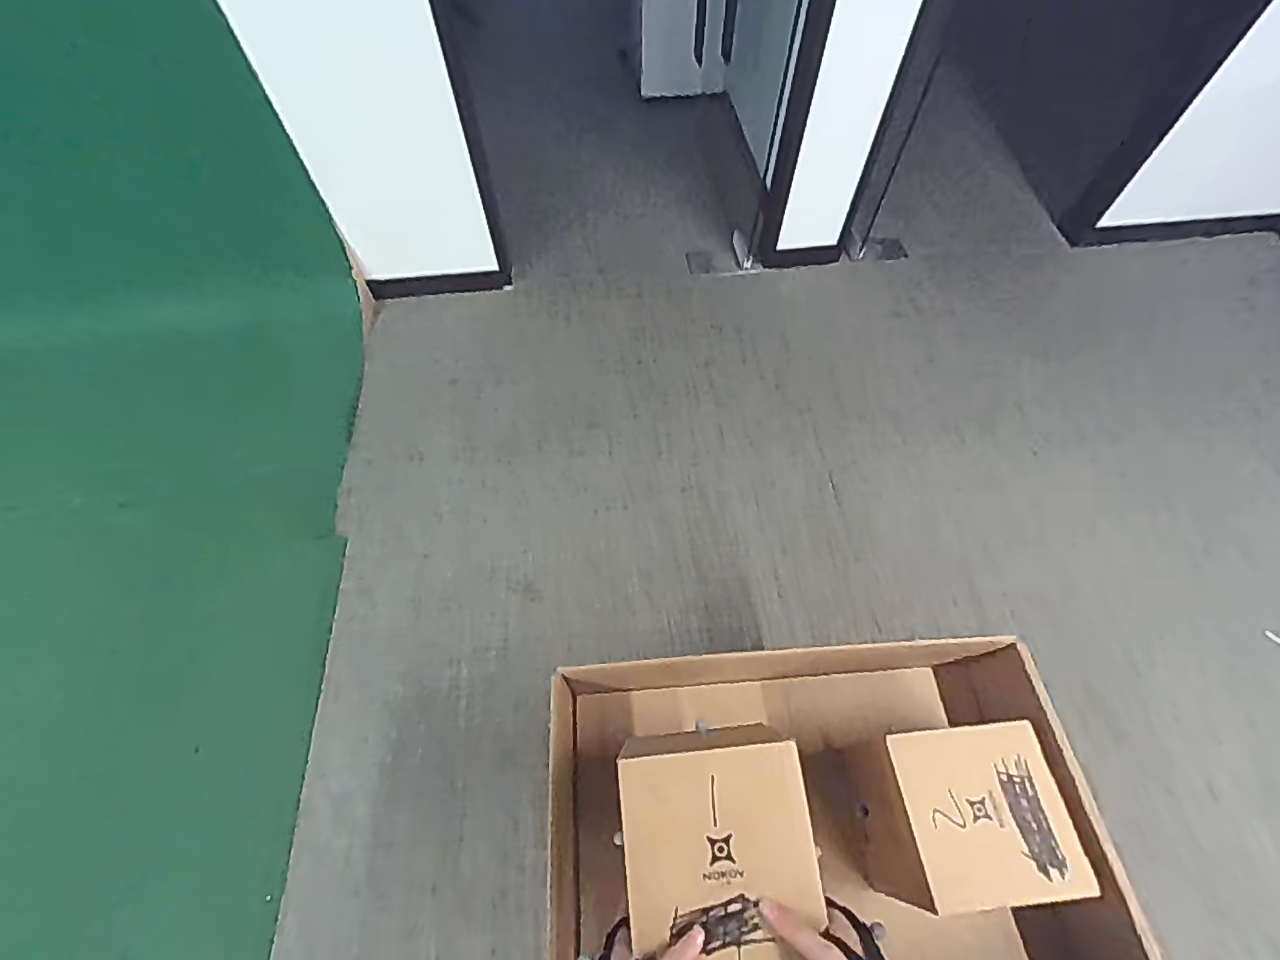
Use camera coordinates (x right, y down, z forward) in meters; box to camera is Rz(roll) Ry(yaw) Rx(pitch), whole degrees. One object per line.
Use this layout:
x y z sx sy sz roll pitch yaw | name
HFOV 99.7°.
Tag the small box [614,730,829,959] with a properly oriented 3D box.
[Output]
0.069 0.355 0.528 0.168 0.176 0.179 -6 70 0 | small box
